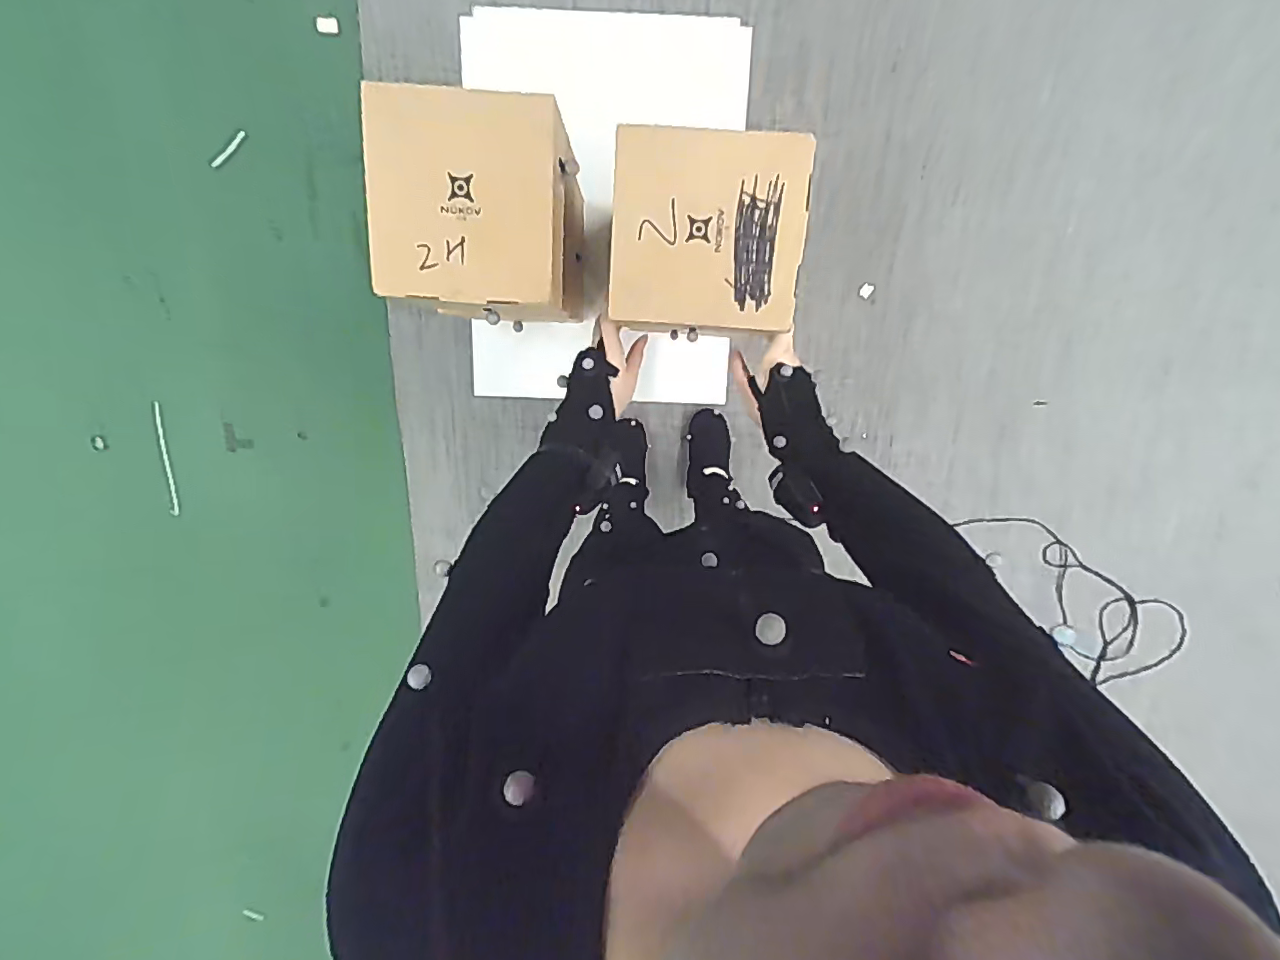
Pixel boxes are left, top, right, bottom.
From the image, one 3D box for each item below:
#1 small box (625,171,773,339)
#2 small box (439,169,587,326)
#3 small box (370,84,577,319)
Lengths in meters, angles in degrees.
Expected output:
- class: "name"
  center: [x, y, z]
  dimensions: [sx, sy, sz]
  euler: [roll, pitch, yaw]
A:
- class: "small box"
  center: [0.070, -0.287, 0.724]
  dimensions: [0.168, 0.176, 0.179]
  euler: [4, 104, 1]
- class: "small box"
  center: [-0.162, -0.303, 0.722]
  dimensions: [0.168, 0.176, 0.179]
  euler: [2, 104, -1]
- class: "small box"
  center: [-0.157, -0.268, 0.561]
  dimensions: [0.168, 0.176, 0.179]
  euler: [3, 104, -1]
